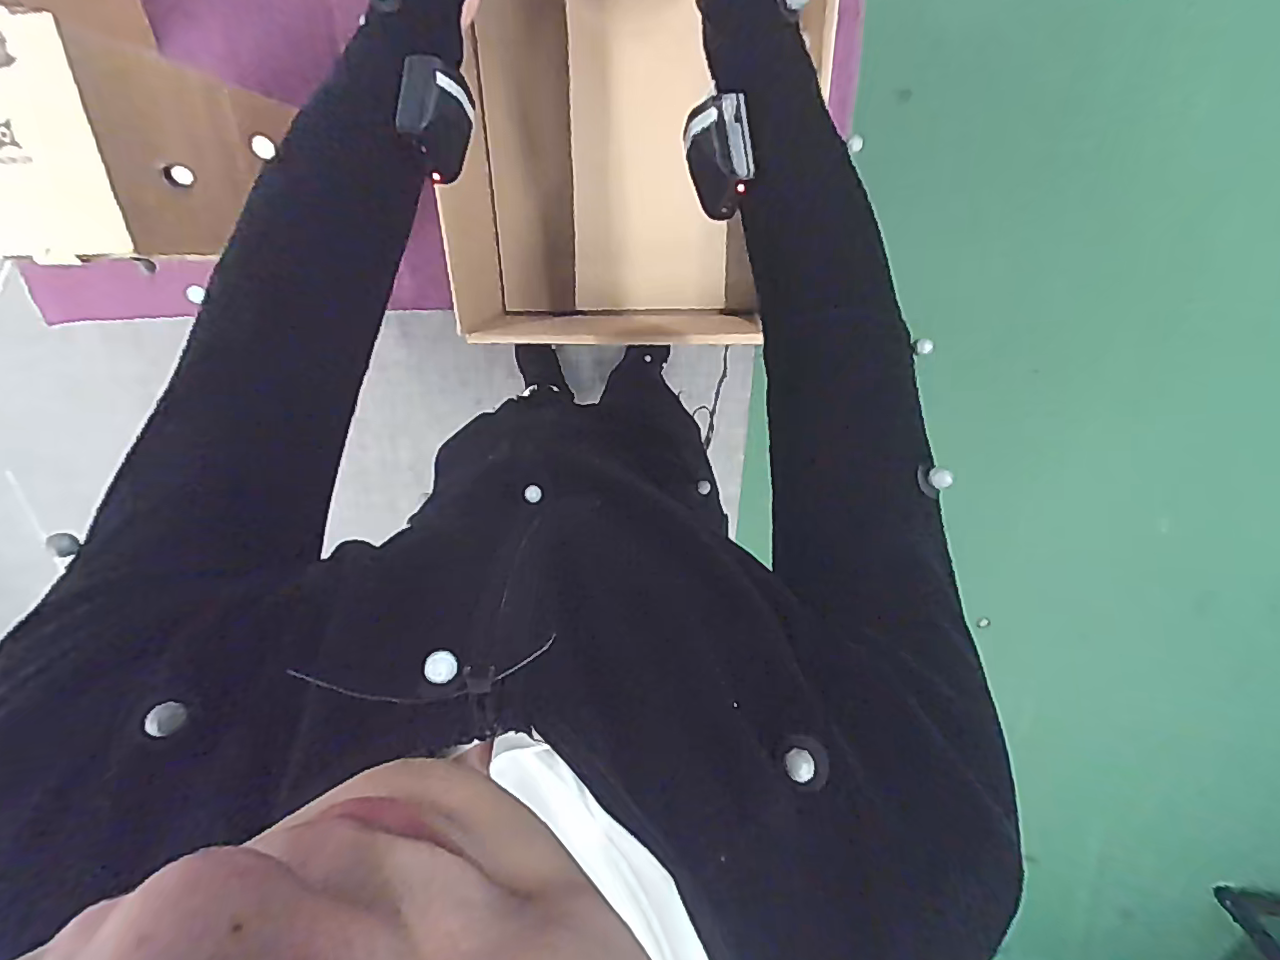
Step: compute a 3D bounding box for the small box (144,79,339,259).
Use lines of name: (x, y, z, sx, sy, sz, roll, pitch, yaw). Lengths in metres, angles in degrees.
small box: (-0.511, -0.372, 0.677, 0.168, 0.176, 0.179, 1, 111, 4)

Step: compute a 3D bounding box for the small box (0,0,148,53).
small box: (-0.713, -0.595, 0.599, 0.168, 0.176, 0.179, 0, 113, 5)

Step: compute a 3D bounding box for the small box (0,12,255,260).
small box: (-0.523, -0.312, 0.525, 0.168, 0.176, 0.179, 1, 113, 3)
